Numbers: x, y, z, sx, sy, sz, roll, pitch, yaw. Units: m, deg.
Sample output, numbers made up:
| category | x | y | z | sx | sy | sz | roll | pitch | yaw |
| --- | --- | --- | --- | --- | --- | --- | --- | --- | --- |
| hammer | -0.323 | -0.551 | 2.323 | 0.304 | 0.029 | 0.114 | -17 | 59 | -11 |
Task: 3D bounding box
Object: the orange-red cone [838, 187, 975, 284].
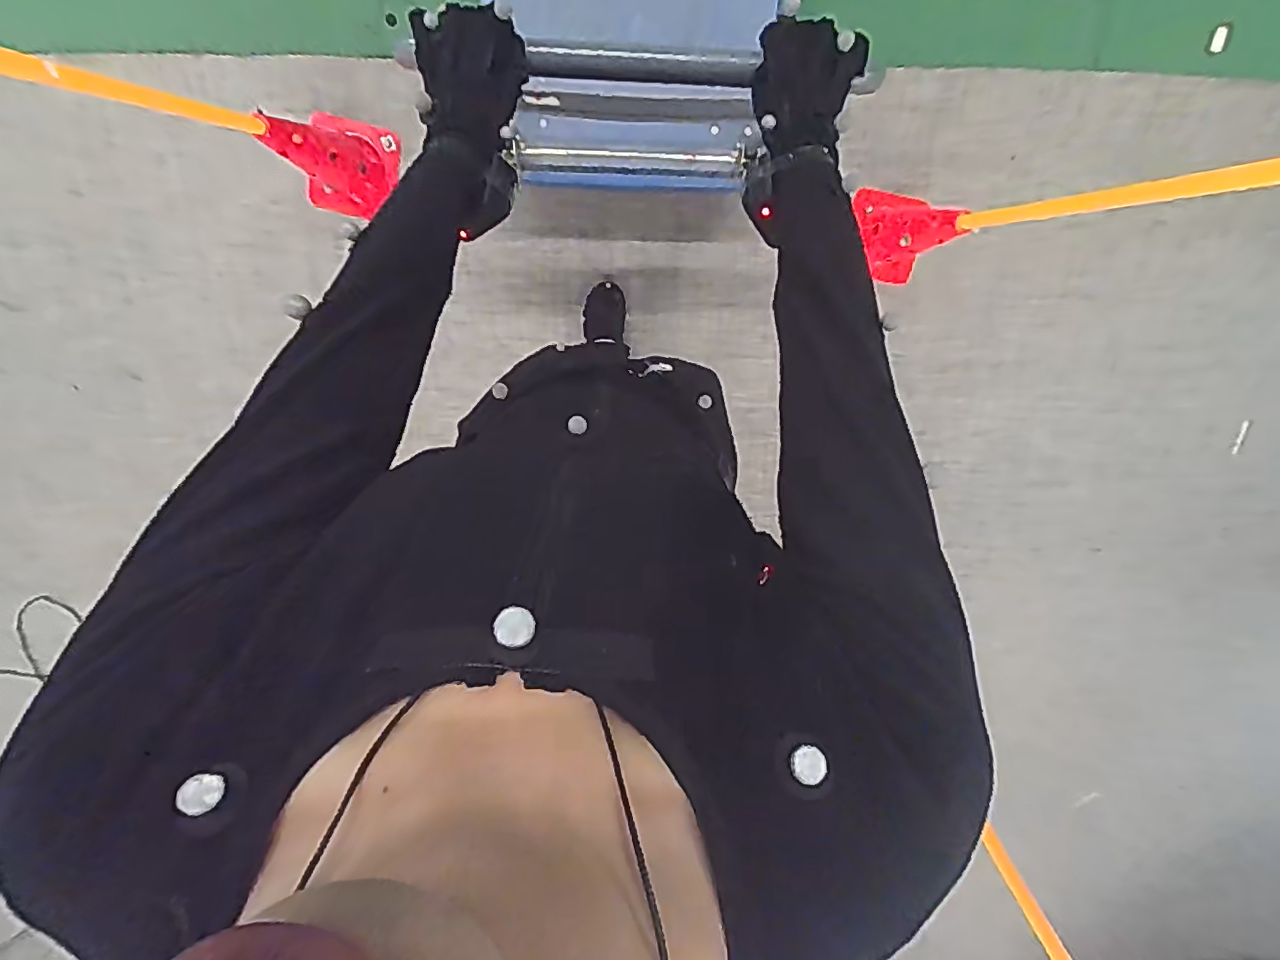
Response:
| category | x | y | z | sx | sy | sz | roll | pitch | yaw |
| --- | --- | --- | --- | --- | --- | --- | --- | --- | --- |
| orange-red cone | 0.615 | -0.548 | 1.187 | 0.198 | 0.360 | 0.199 | 11 | 110 | -5 |
